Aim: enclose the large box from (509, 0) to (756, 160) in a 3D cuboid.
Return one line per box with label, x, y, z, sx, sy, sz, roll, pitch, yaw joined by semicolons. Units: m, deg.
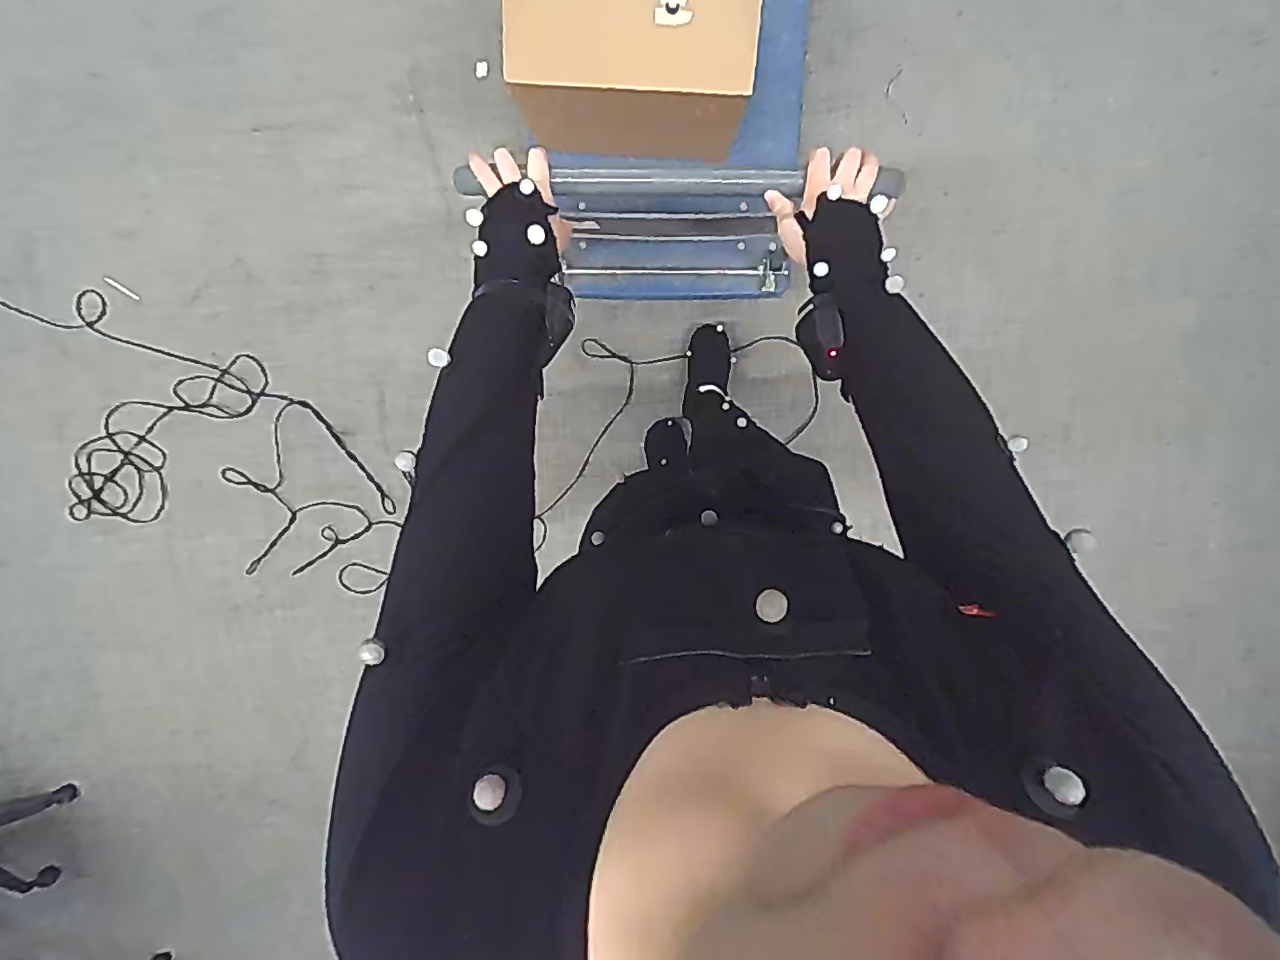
large box;-0.013;-0.822;1.003;0.408;0.320;0.320;3;103;0
